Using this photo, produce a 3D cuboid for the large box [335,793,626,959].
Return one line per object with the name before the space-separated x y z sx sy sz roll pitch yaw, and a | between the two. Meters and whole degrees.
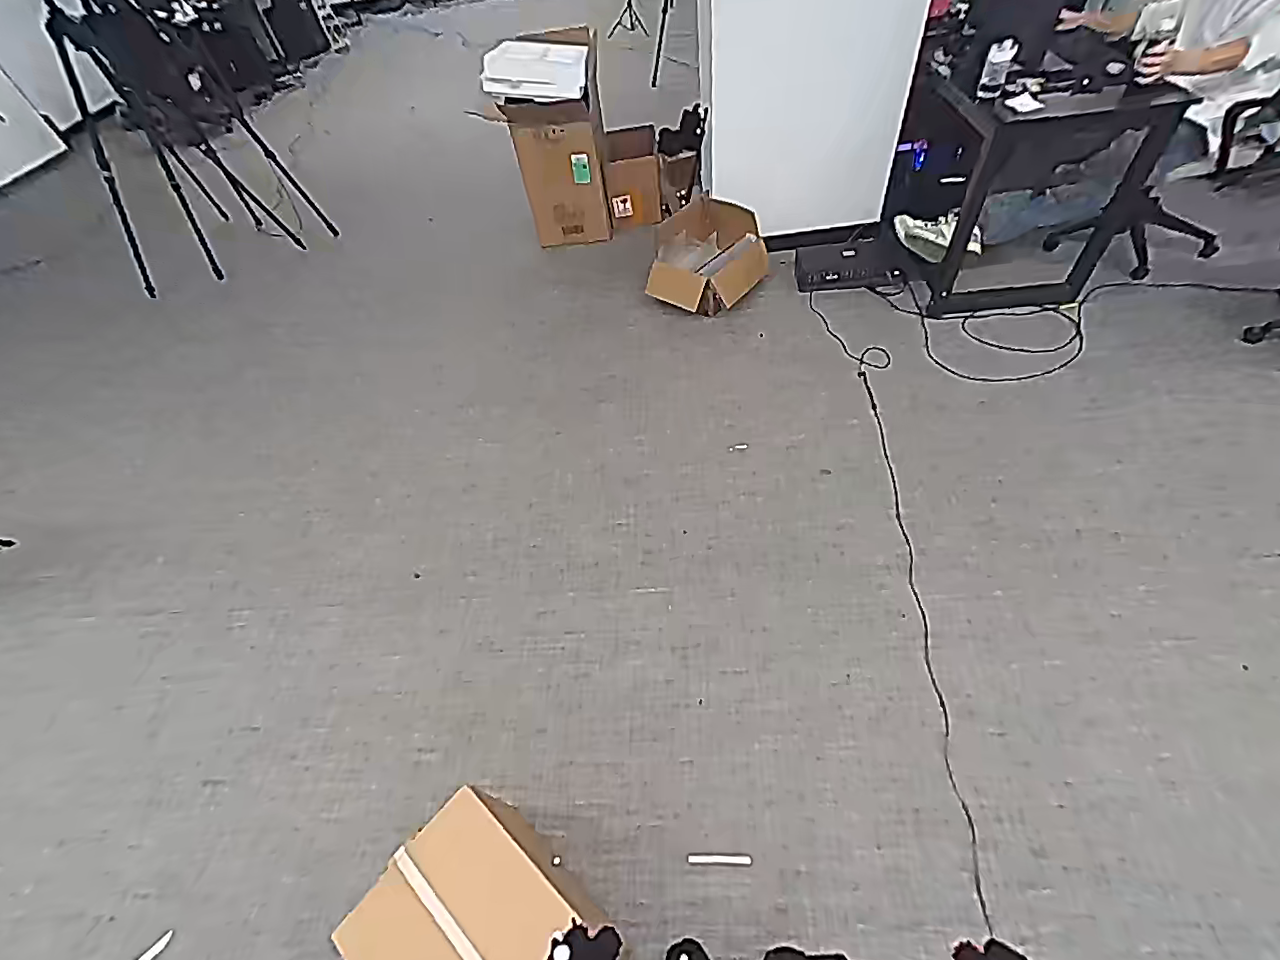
large box | -0.286 0.906 1.055 0.408 0.320 0.320 30 62 28
